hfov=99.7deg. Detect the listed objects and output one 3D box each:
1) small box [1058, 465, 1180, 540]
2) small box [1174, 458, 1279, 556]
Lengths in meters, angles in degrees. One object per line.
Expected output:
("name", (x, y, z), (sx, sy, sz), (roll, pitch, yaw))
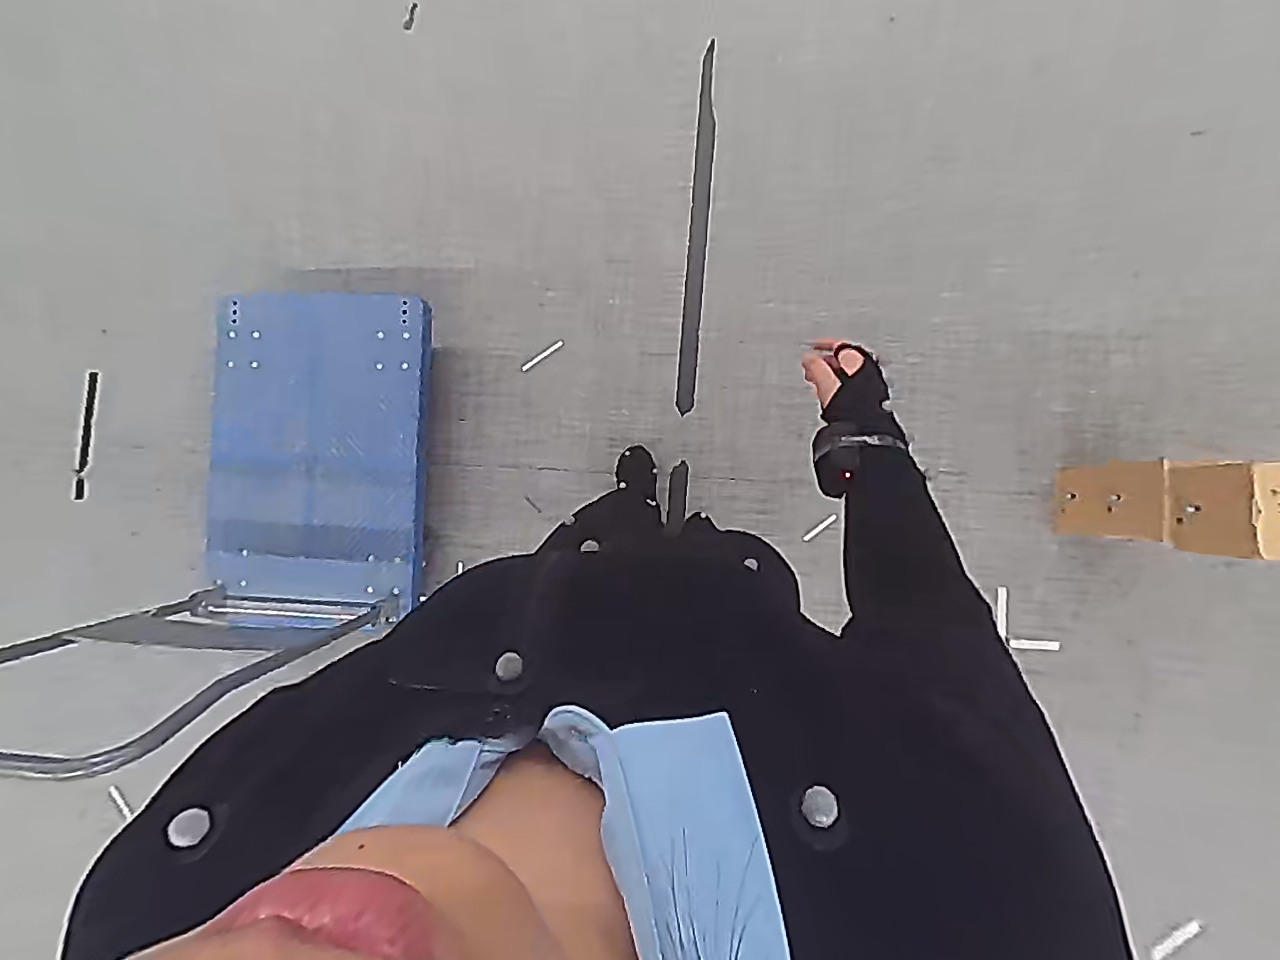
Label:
("small box", (1.159, 0.051, 1.303), (0.179, 0.176, 0.168), (2, 89, 6))
("small box", (1.131, 0.046, 0.975), (0.179, 0.176, 0.168), (-2, 87, 7))
